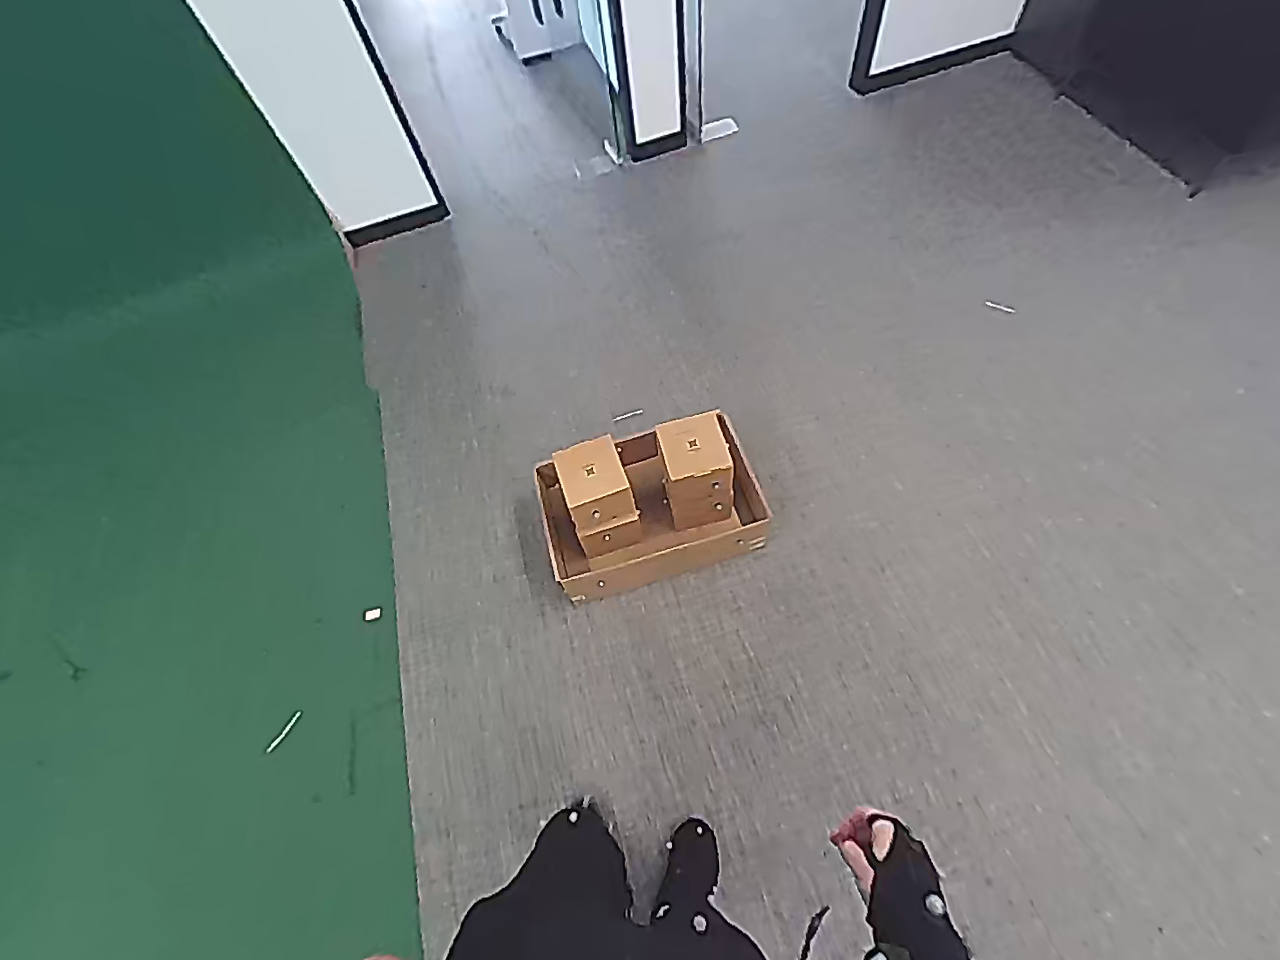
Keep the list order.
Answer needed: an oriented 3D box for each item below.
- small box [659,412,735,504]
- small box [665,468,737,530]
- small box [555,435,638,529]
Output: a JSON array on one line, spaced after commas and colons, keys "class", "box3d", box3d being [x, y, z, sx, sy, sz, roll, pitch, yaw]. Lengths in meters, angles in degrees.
[{"class": "small box", "box3d": [0.153, -0.051, 1.455, 0.168, 0.176, 0.179, -13, 60, -1]}, {"class": "small box", "box3d": [0.176, 0.028, 1.596, 0.179, 0.176, 0.168, -14, 61, 0]}, {"class": "small box", "box3d": [-0.113, 0.014, 1.456, 0.168, 0.176, 0.179, -20, 60, -4]}]
